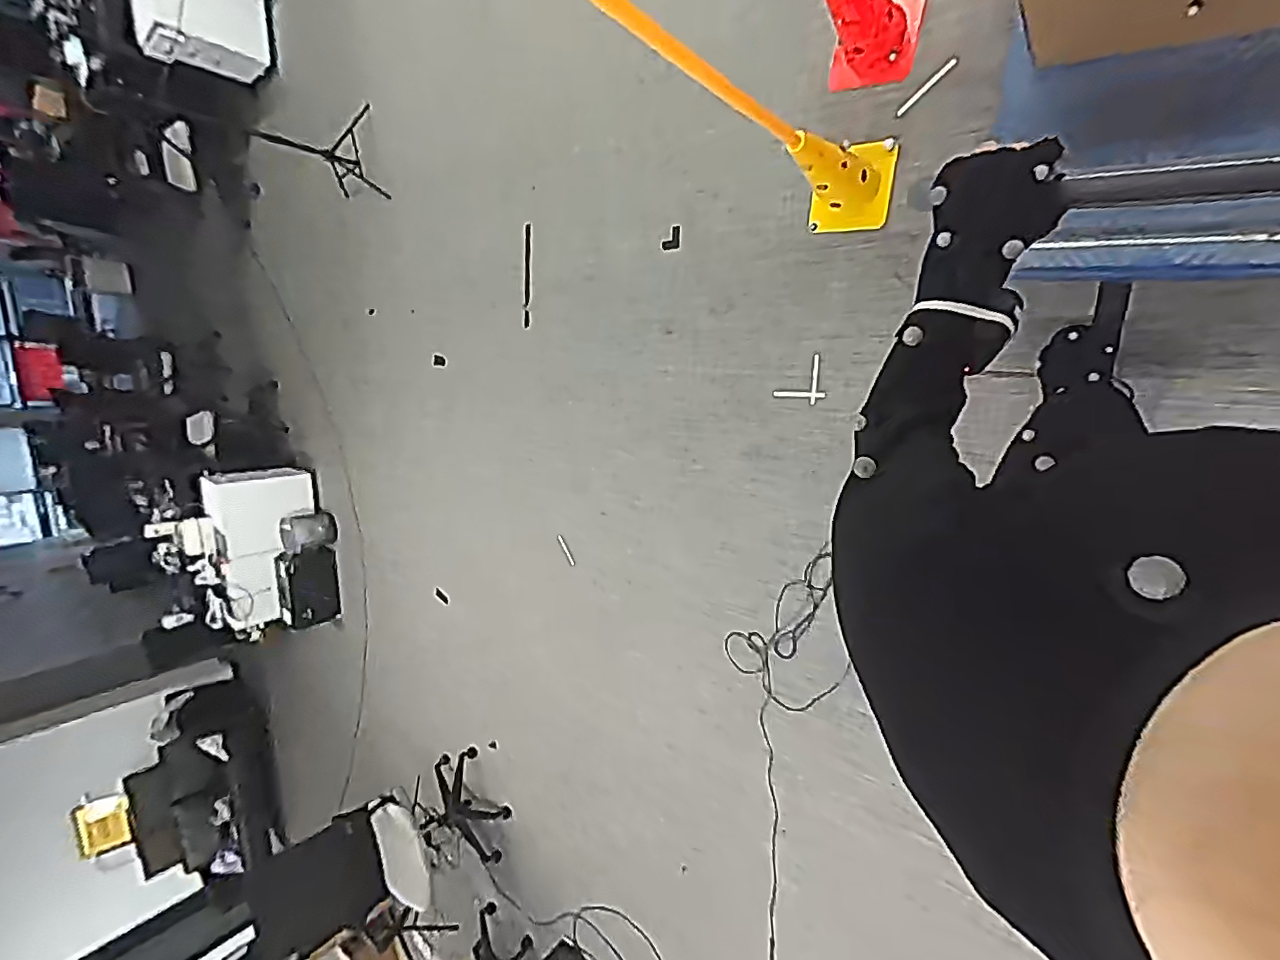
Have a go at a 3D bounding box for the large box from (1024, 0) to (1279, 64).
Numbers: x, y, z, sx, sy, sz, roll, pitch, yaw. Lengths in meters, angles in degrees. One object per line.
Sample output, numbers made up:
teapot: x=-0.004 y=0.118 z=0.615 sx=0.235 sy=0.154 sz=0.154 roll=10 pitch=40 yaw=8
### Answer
large box: x=0.798 y=-0.825 z=0.714 sx=0.408 sy=0.320 sz=0.320 roll=18 pitch=111 yaw=38

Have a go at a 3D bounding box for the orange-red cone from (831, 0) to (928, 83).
orange-red cone: x=0.460 y=-1.042 z=1.153 sx=0.198 sy=0.360 sz=0.199 roll=20 pitch=109 yaw=35
